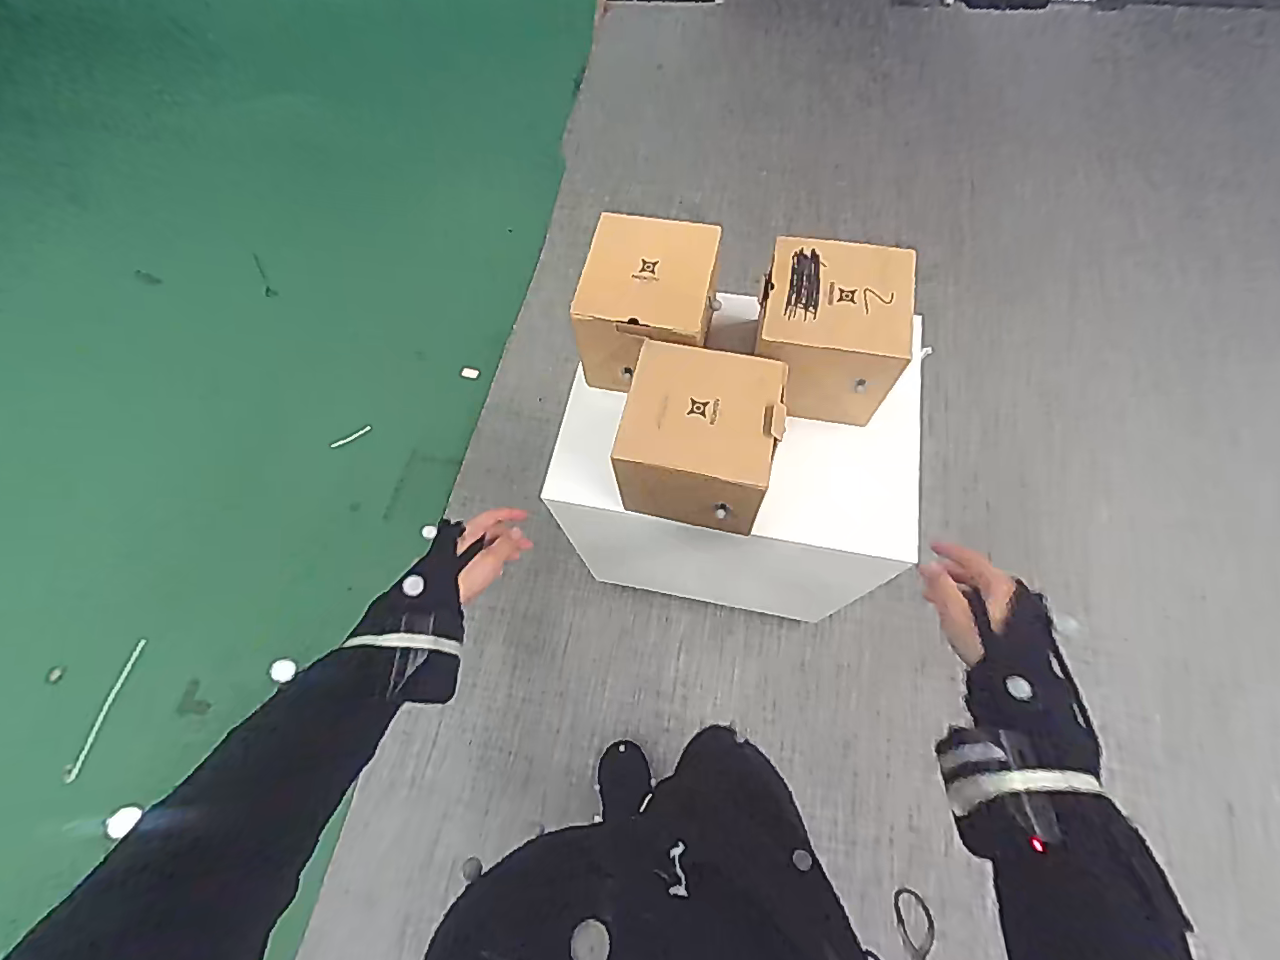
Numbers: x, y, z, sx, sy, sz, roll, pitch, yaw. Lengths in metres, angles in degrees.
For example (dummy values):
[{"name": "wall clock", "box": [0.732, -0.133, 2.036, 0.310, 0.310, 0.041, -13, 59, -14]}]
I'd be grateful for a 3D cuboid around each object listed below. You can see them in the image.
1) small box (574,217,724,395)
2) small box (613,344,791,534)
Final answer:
[{"name": "small box", "box": [0.017, -0.233, 0.766, 0.168, 0.176, 0.179, 10, 69, 7]}, {"name": "small box", "box": [0.078, -0.043, 0.681, 0.179, 0.176, 0.168, 10, 66, 10]}]
